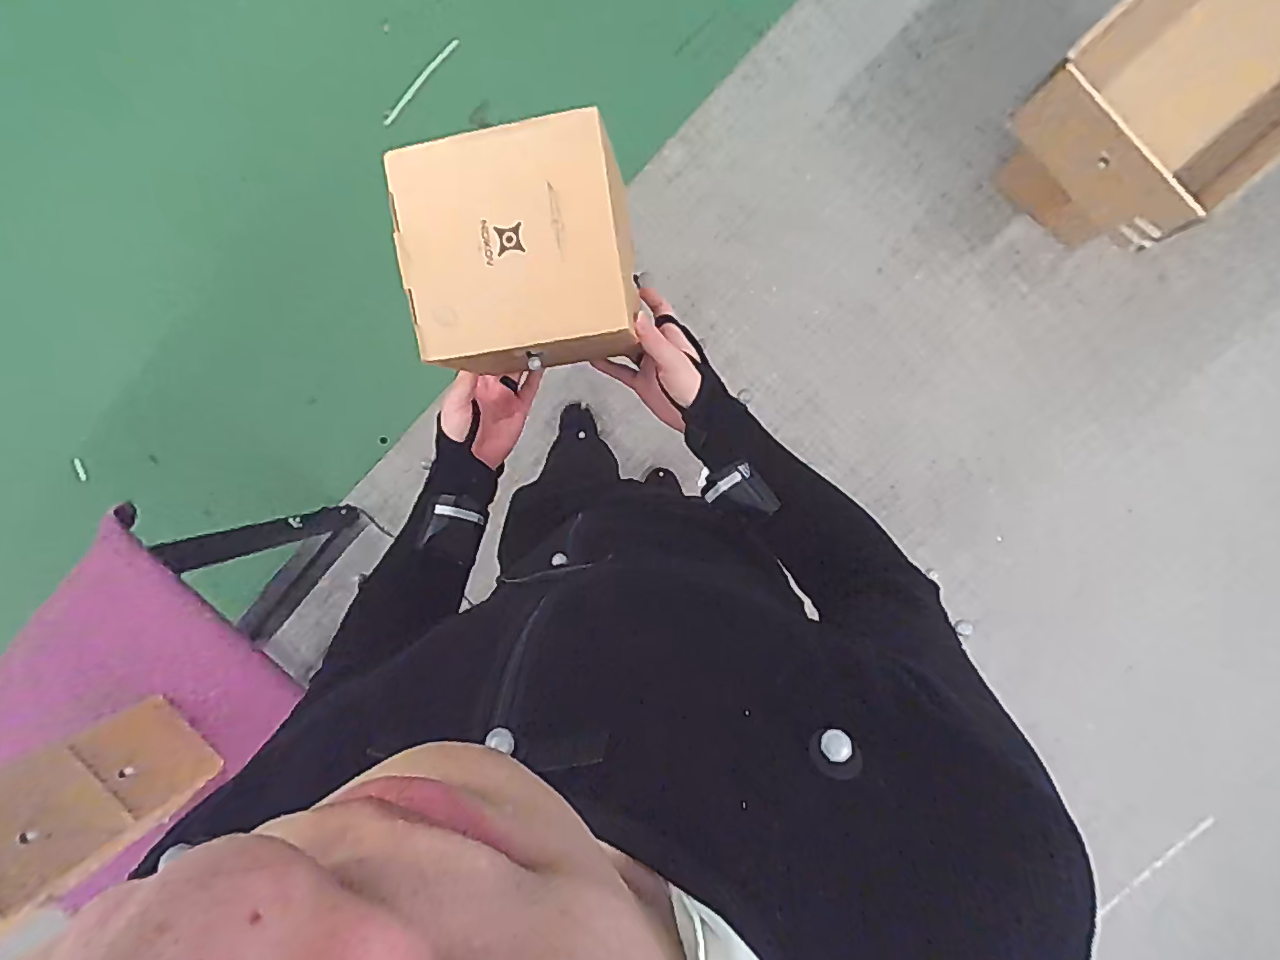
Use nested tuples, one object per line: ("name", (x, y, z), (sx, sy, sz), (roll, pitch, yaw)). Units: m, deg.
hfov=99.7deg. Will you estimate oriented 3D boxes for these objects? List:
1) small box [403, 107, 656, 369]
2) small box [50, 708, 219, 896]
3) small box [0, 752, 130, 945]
("small box", (-0.085, -0.199, 0.500), (0.179, 0.176, 0.168), (-6, 97, 6))
("small box", (-0.861, 0.505, 0.884), (0.168, 0.176, 0.179), (-42, 93, 4))
("small box", (-0.859, 0.510, 0.719), (0.168, 0.176, 0.179), (-42, 93, 4))
